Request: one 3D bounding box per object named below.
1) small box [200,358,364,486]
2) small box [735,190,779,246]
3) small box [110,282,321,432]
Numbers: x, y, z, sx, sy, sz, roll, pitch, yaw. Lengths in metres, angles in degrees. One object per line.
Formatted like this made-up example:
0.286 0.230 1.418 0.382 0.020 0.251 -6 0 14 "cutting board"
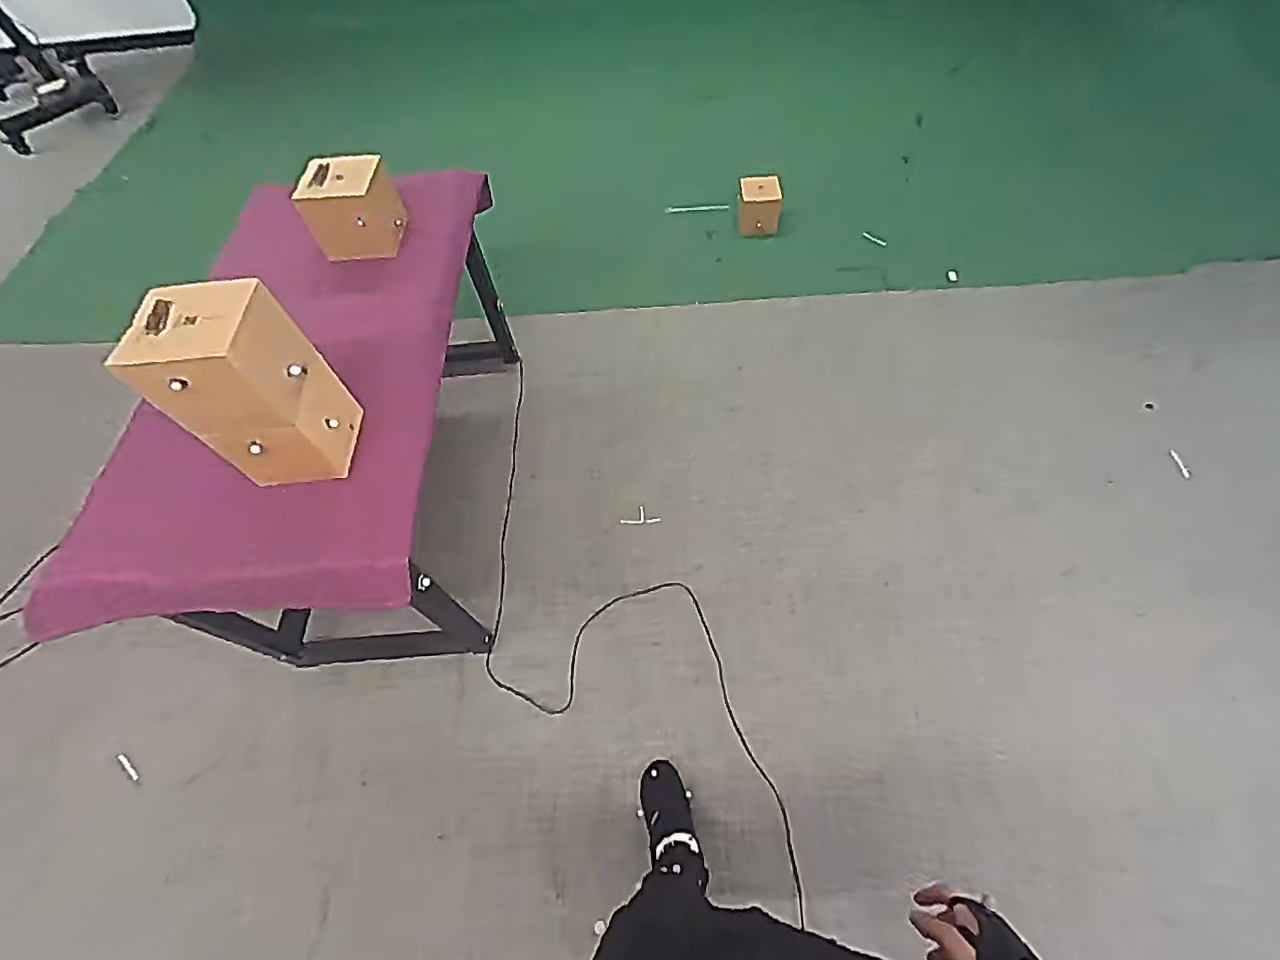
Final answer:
-0.645 -0.103 1.002 0.179 0.176 0.168 -5 58 1 "small box"
0.528 -1.193 2.462 0.168 0.176 0.179 -1 58 3 "small box"
-0.656 -0.189 0.863 0.179 0.176 0.168 -4 59 0 "small box"
